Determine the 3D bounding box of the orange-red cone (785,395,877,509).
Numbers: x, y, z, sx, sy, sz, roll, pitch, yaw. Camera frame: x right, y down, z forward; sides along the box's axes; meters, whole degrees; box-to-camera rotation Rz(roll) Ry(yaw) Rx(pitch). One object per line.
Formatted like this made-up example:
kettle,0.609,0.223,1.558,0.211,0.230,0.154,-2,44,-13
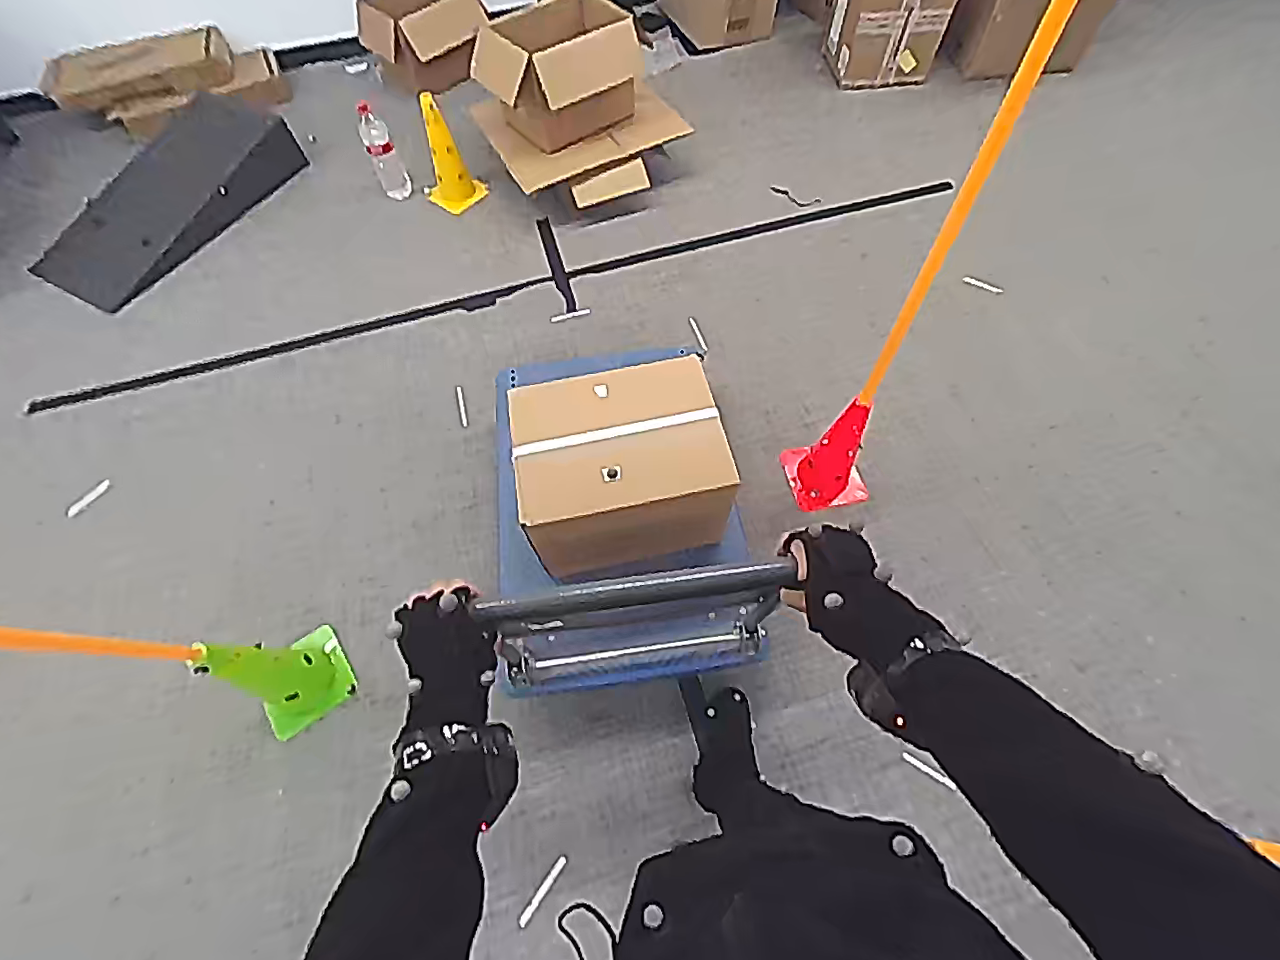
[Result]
orange-red cone,0.524,-0.097,1.380,0.199,0.360,0.198,-9,63,-5
